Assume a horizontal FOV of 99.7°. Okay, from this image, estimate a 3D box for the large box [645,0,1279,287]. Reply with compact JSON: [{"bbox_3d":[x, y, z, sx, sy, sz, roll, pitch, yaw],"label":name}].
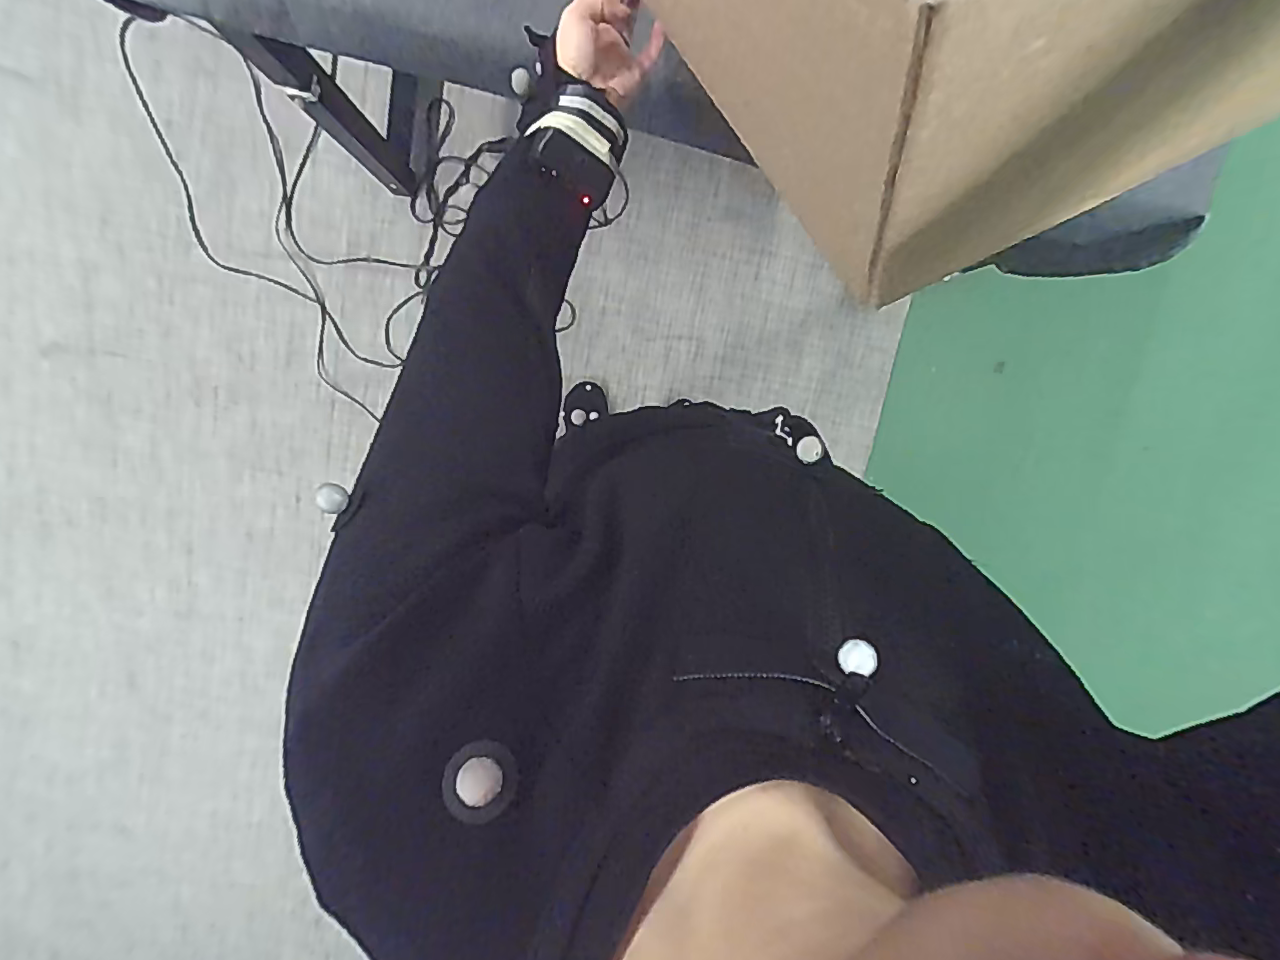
[{"bbox_3d":[0.137,-0.369,0.201,0.320,0.320,0.408,-27,68,5],"label":"large box"}]
